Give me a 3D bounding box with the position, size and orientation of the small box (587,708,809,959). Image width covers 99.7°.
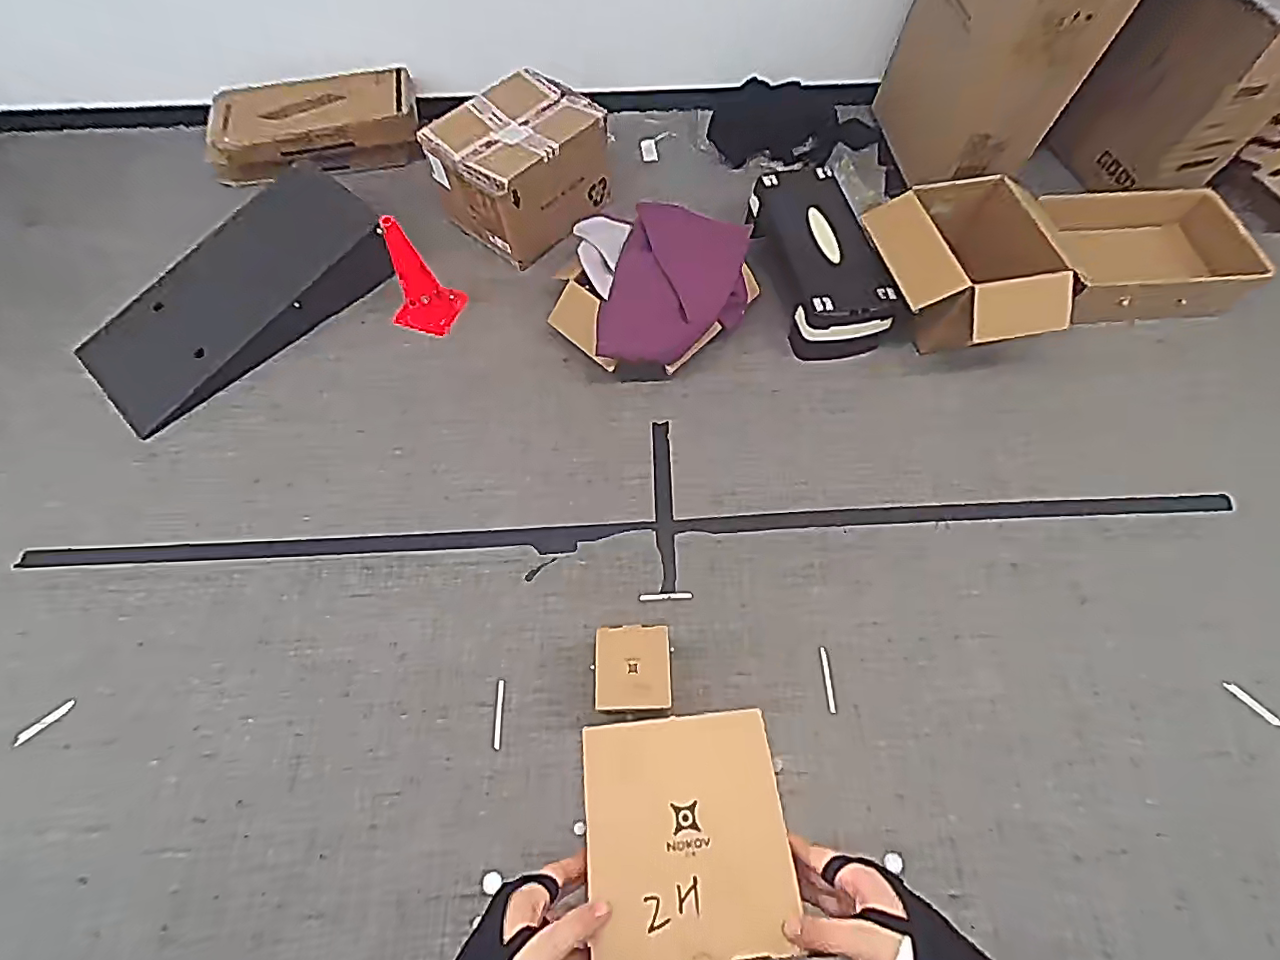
[{"bbox_3d":[0.040,0.333,0.513,0.168,0.176,0.179,-6,57,-2],"label":"small box"}]

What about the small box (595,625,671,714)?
[{"bbox_3d":[-0.016,0.443,1.256,0.168,0.176,0.179,-2,66,0],"label":"small box"}]
